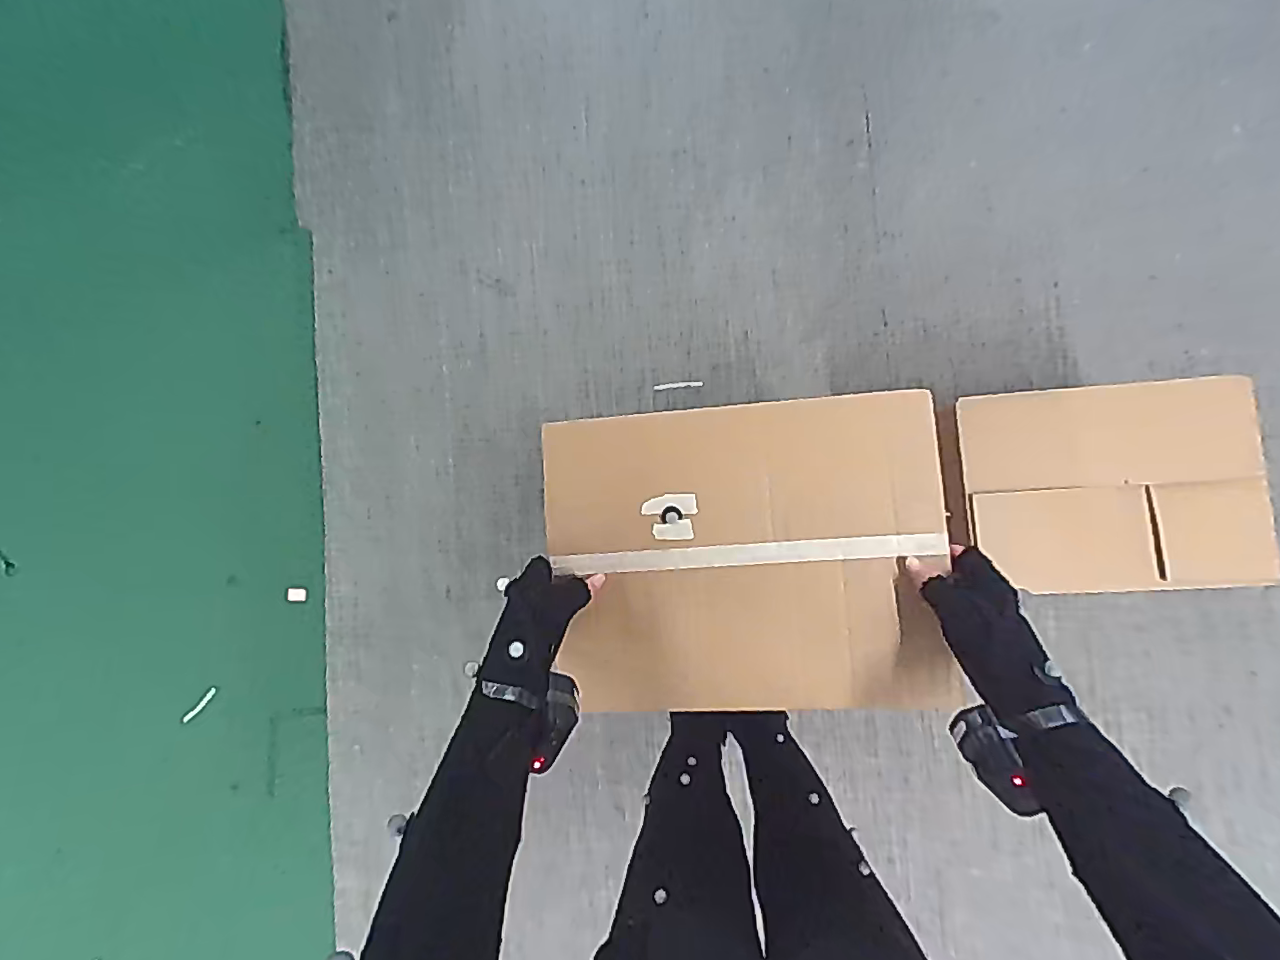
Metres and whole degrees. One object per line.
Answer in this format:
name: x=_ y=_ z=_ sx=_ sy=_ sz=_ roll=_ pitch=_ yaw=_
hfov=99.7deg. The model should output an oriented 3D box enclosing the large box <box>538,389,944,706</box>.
large box: x=0.117 y=0.083 z=0.710 sx=0.408 sy=0.320 sz=0.320 roll=-4 pitch=86 yaw=9
